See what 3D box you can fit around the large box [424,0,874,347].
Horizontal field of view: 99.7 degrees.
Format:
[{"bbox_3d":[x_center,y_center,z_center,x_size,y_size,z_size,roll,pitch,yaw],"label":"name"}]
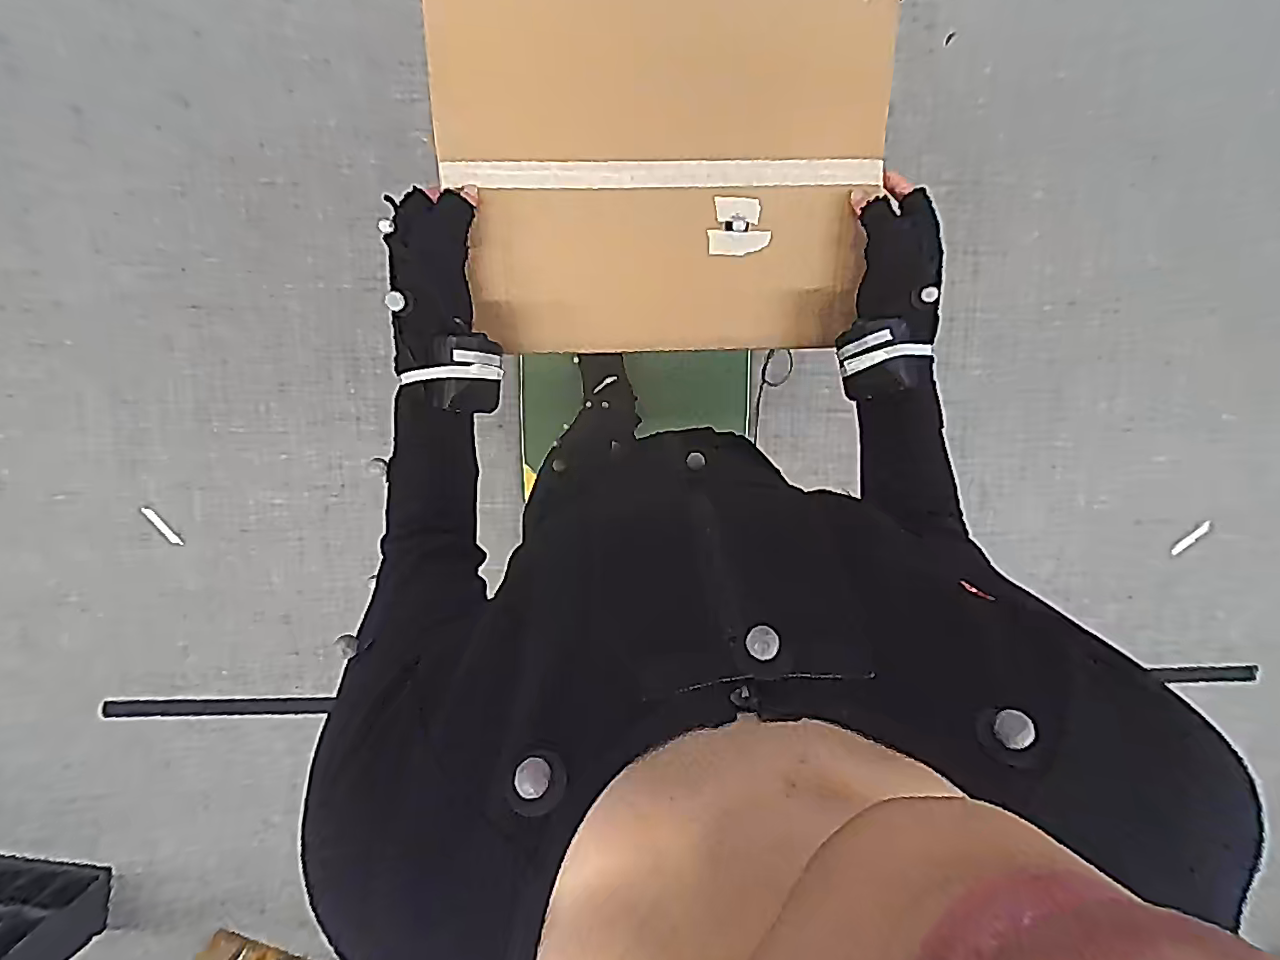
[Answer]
[{"bbox_3d":[0.006,-0.334,0.651,0.408,0.320,0.320,-3,107,-4],"label":"large box"}]
